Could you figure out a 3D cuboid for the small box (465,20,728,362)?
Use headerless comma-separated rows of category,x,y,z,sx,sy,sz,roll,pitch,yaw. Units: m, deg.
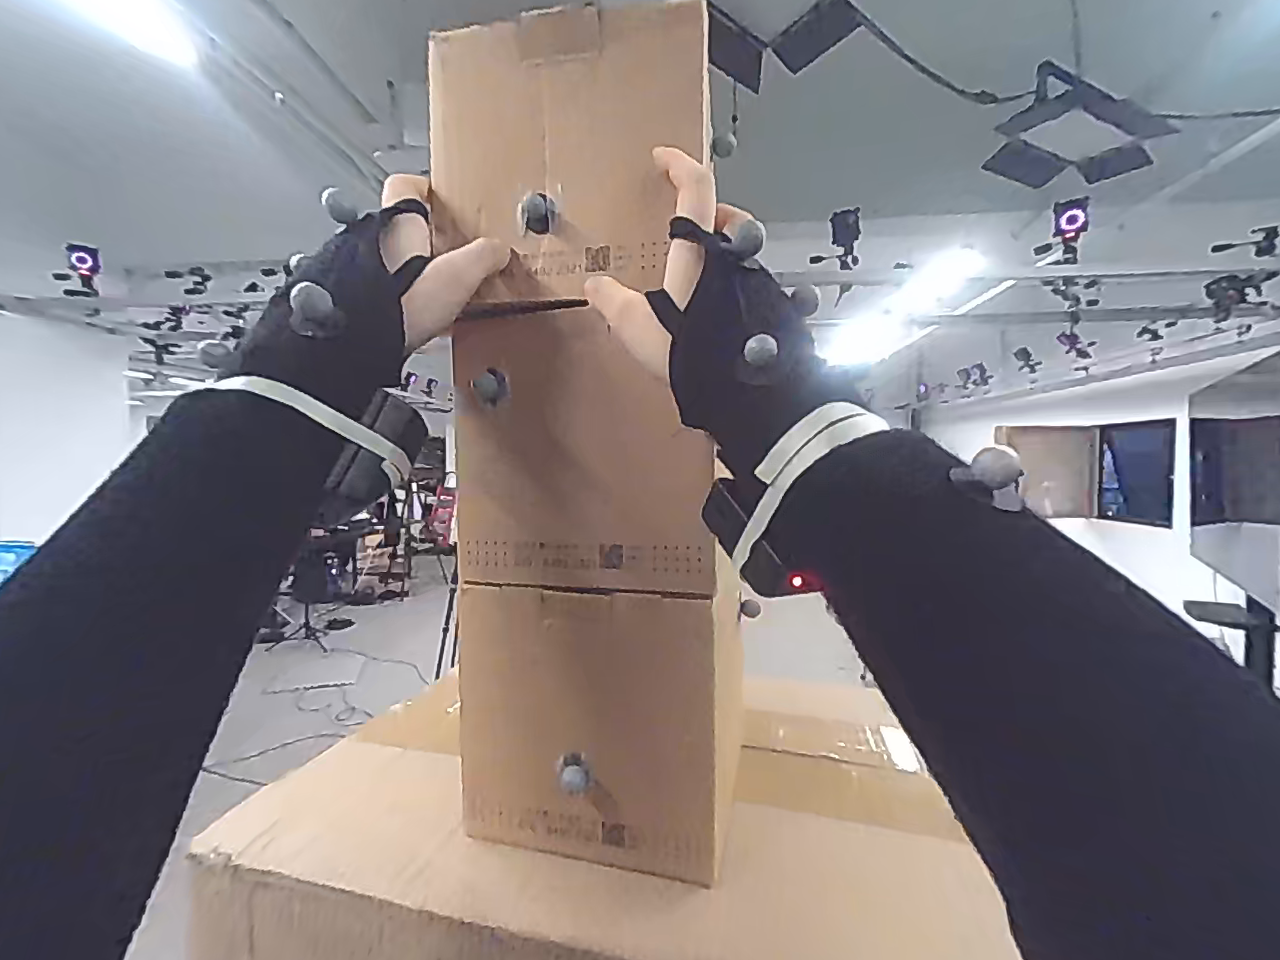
small box,-0.020,-0.186,0.407,0.168,0.176,0.179,1,3,8

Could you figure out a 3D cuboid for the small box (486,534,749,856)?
small box,-0.005,0.140,0.421,0.168,0.176,0.179,1,3,15
